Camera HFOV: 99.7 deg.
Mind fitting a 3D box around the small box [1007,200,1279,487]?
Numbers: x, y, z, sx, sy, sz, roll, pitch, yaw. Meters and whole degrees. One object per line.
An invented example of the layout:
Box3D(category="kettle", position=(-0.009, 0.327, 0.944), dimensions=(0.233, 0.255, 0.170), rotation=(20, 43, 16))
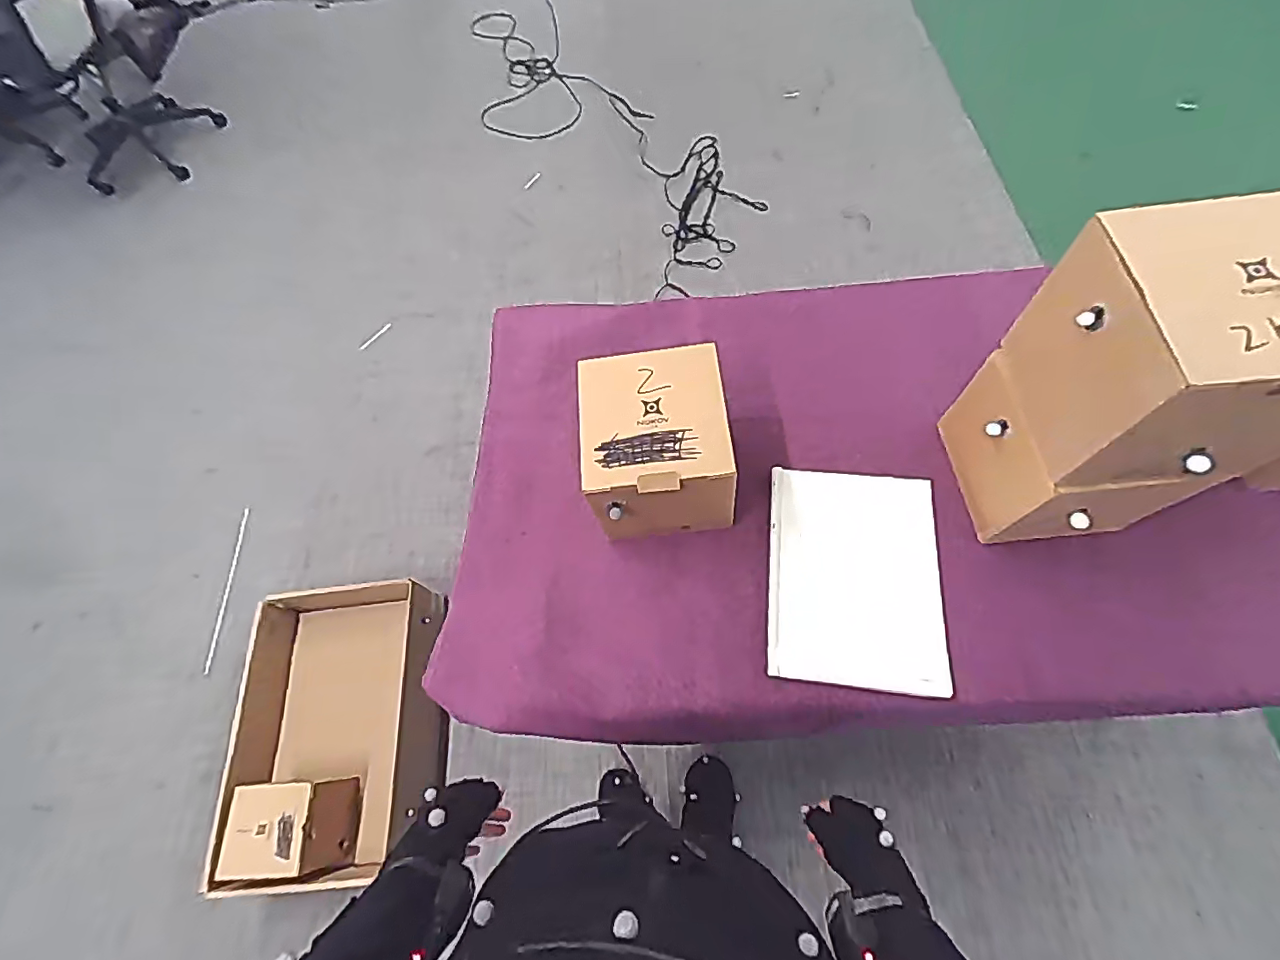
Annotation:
Box3D(category="small box", position=(0.464, -0.109, 0.474), dimensions=(0.168, 0.176, 0.179), rotation=(-4, 65, 6))

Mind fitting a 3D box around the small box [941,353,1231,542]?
Box3D(category="small box", position=(0.481, -0.035, 0.621), dimensions=(0.168, 0.176, 0.179), rotation=(-7, 64, 5))
